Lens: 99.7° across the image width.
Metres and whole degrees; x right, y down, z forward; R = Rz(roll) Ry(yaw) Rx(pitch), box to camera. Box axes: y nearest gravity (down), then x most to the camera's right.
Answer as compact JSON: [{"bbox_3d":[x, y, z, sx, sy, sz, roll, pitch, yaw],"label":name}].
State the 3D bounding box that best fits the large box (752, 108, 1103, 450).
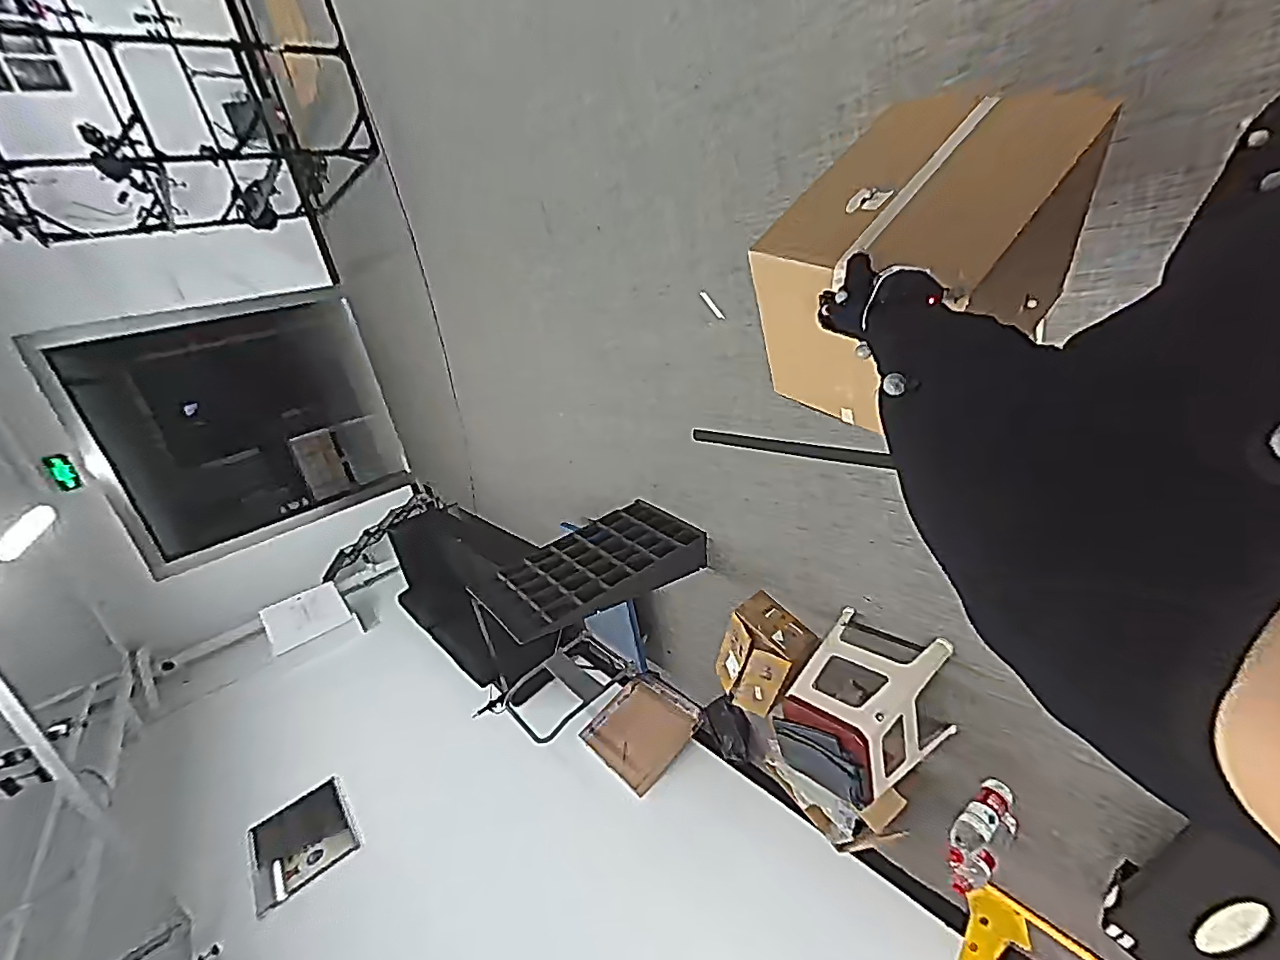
[{"bbox_3d":[0.446,-0.330,0.882,0.320,0.408,0.320,31,164,38],"label":"large box"}]
